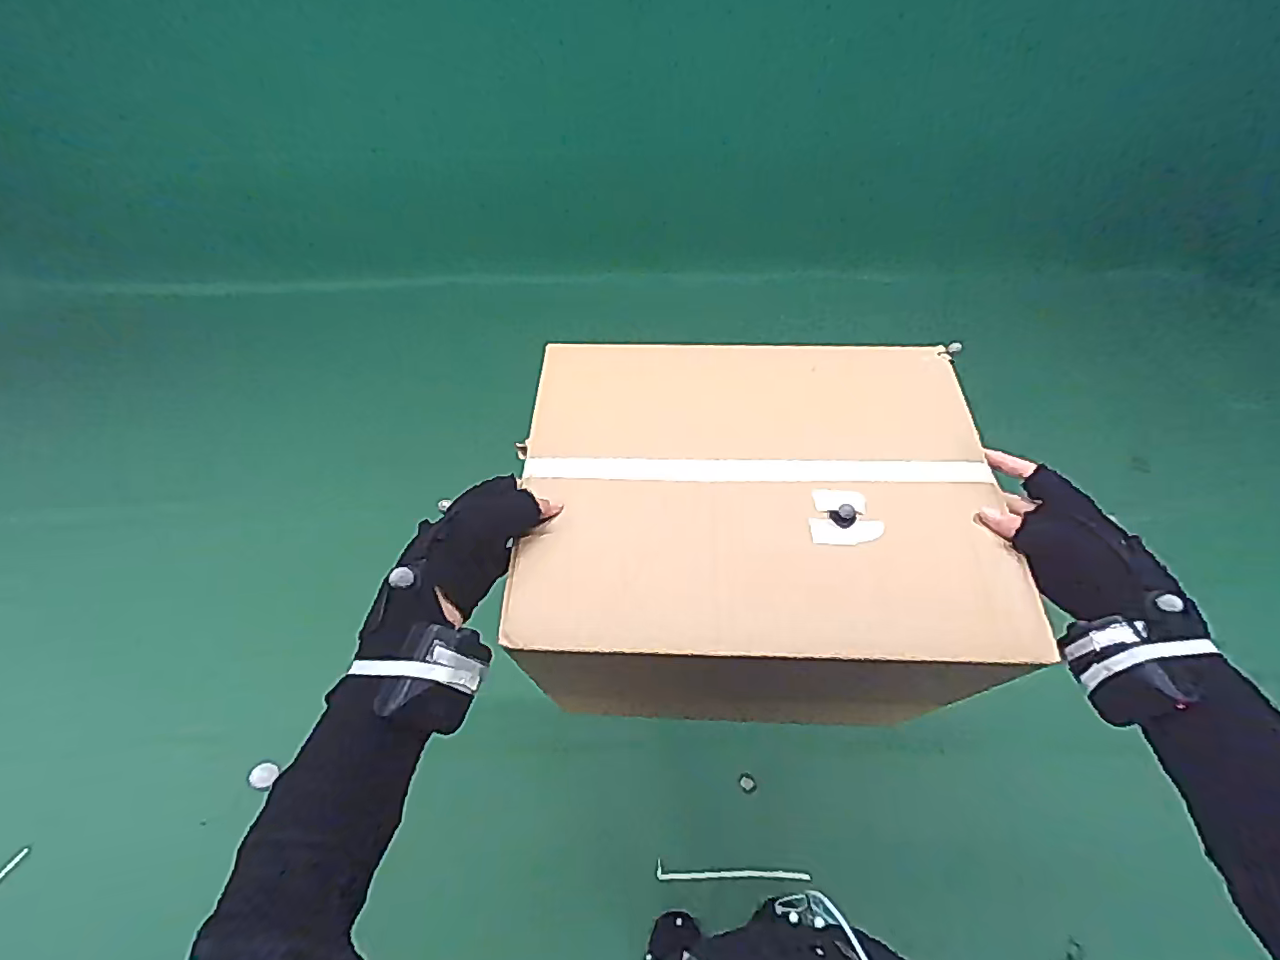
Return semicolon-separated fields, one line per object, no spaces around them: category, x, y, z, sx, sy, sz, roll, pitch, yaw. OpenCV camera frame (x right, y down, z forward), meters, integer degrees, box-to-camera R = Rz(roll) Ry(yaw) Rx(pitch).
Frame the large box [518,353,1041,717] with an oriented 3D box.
large box;0.106;0.076;0.610;0.408;0.320;0.320;1;58;1
